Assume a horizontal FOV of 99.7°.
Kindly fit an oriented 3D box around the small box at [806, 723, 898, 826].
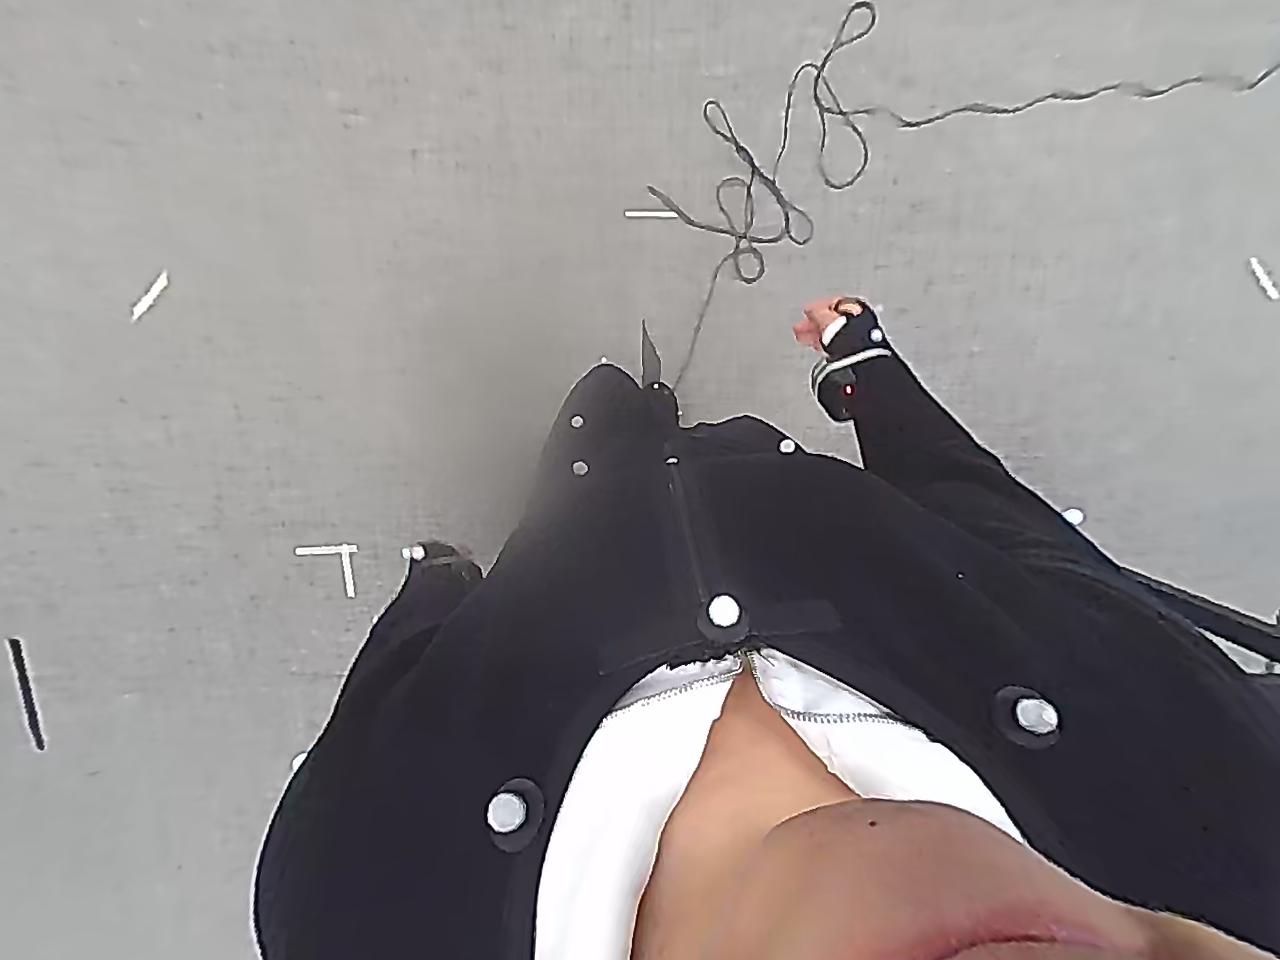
[{"bbox_3d":[0.607,0.854,1.578,0.168,0.176,0.179,20,98,-5],"label":"small box"}]
